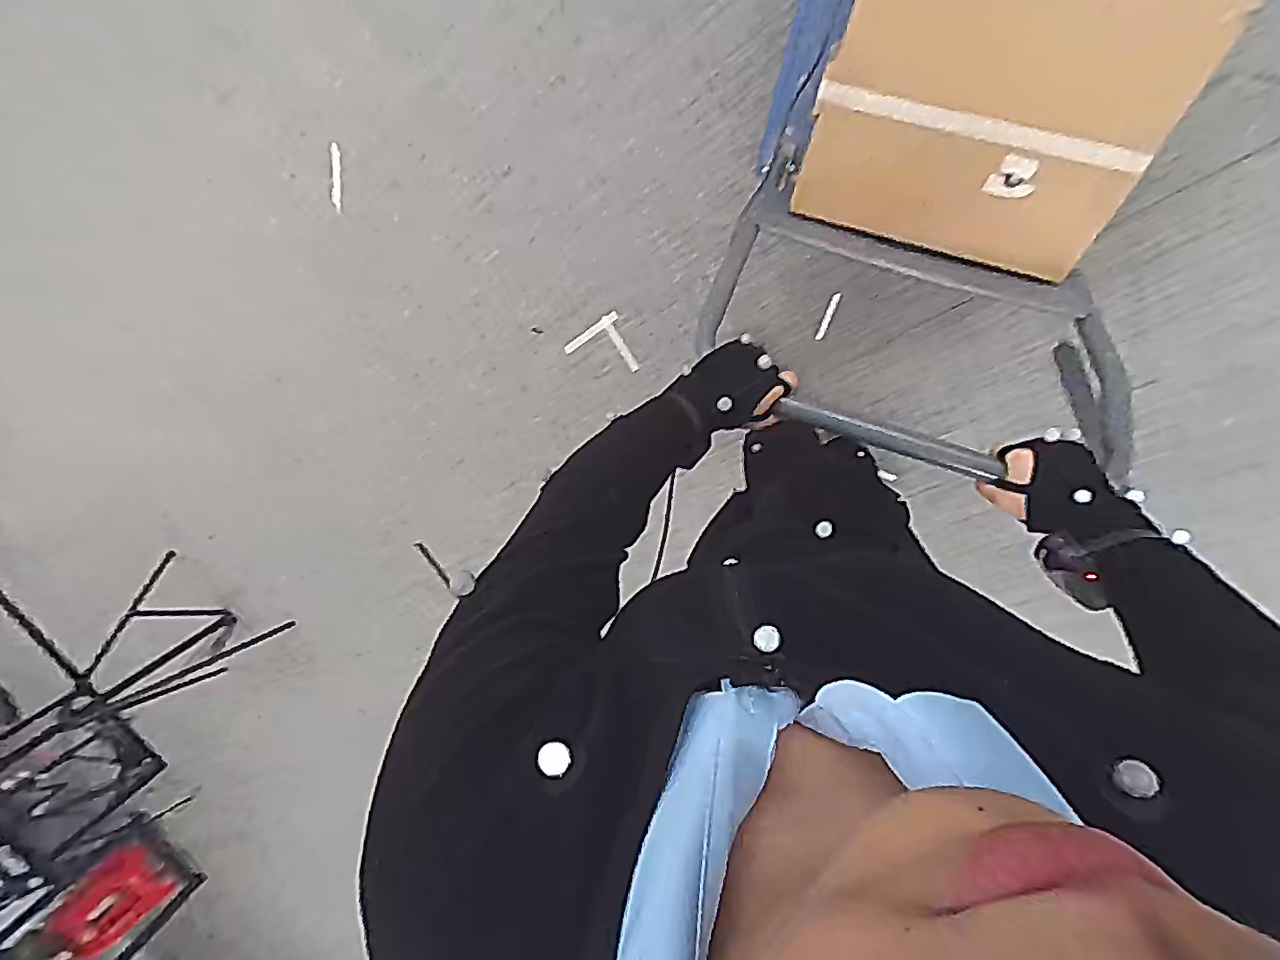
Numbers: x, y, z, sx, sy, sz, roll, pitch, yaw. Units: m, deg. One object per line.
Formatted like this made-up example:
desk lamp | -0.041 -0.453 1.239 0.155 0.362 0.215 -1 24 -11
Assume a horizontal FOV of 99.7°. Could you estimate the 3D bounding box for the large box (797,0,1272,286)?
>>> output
large box | 0.483 -0.533 0.784 0.408 0.320 0.320 19 136 6
